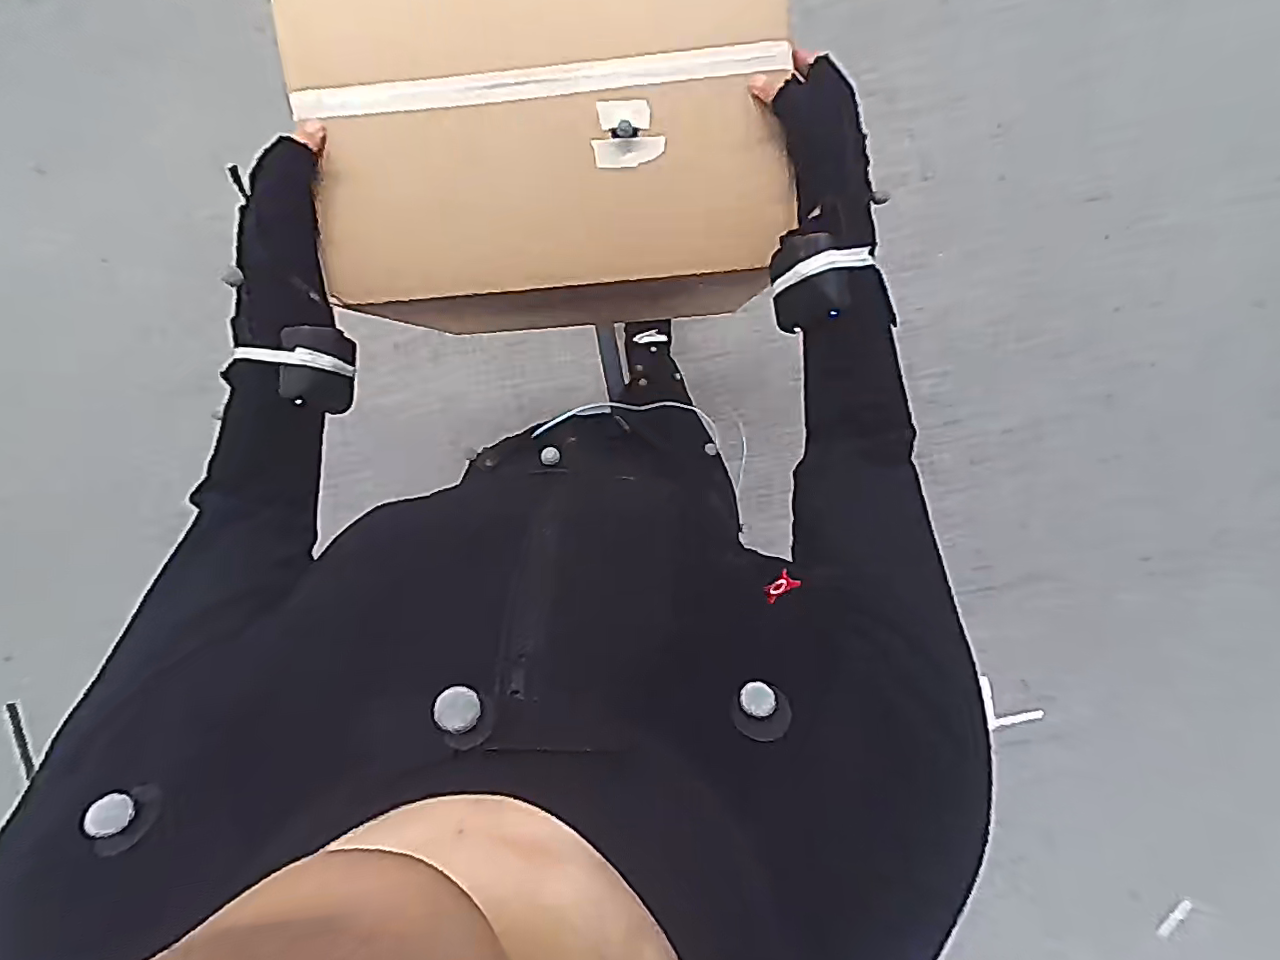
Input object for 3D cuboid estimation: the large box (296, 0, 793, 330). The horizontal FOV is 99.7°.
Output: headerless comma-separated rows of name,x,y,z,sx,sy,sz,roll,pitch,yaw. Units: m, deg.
large box,-0.078,-0.355,0.598,0.408,0.320,0.320,-5,101,1
